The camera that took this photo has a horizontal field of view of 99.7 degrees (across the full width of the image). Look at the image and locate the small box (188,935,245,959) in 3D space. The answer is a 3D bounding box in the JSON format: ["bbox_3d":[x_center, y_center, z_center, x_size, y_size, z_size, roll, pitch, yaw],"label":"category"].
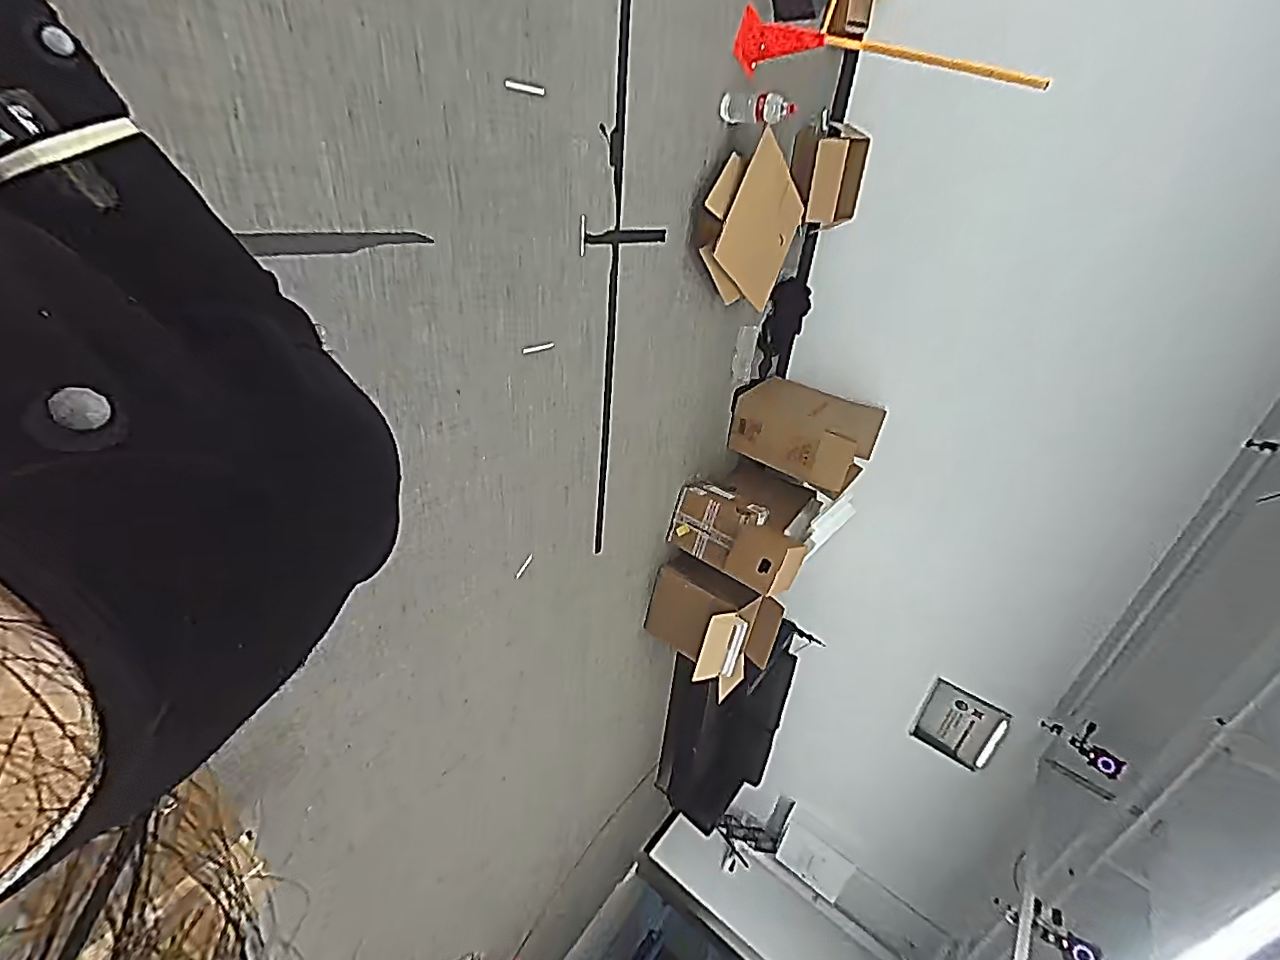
[{"bbox_3d":[-1.006,1.228,1.261,0.168,0.176,0.179,-30,134,-45],"label":"small box"}]

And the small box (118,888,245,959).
[{"bbox_3d":[-1.136,1.178,1.344,0.179,0.176,0.168,-30,134,-43],"label":"small box"}]
